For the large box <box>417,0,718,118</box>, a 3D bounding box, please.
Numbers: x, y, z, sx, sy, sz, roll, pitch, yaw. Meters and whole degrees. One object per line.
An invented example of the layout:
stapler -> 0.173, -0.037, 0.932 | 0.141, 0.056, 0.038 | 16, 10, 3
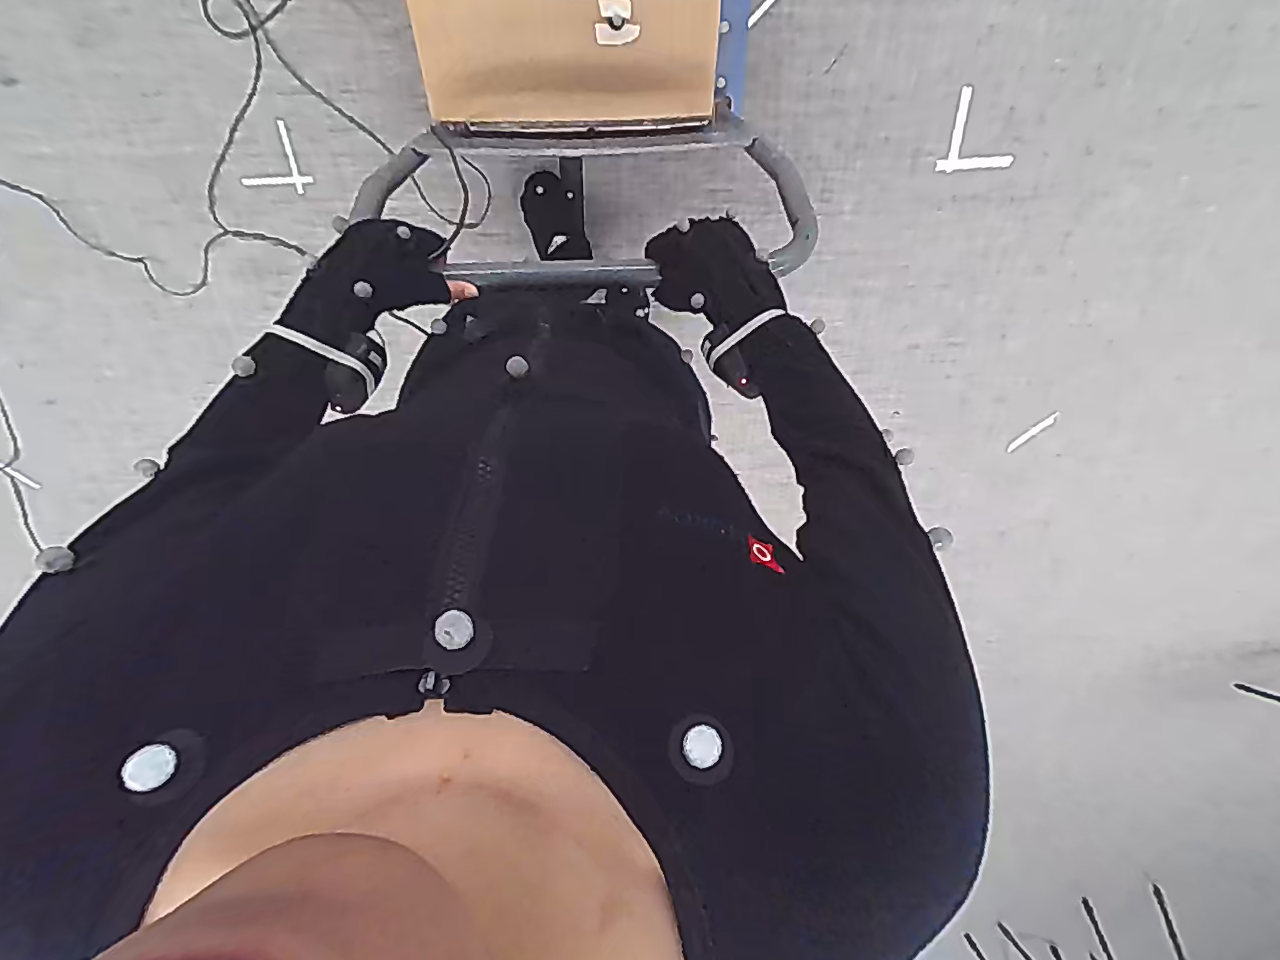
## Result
large box -> -0.105, -0.748, 0.810 | 0.408, 0.320, 0.320 | -3, 129, -3
